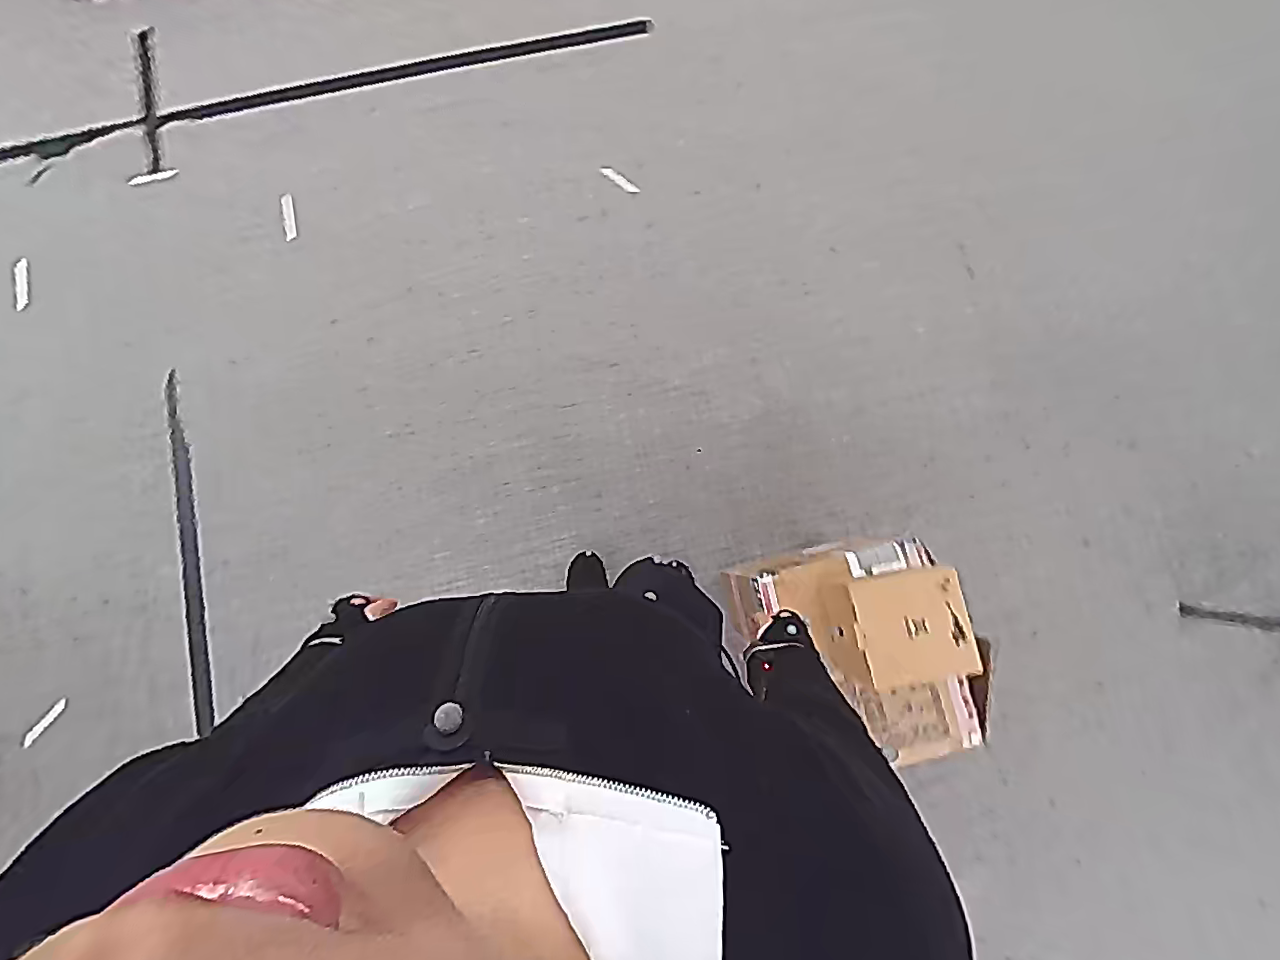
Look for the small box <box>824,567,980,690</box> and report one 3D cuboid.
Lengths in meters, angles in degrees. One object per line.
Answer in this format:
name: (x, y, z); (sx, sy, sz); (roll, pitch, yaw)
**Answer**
small box: (0.427, 0.245, 0.920); (0.179, 0.176, 0.168); (-10, 80, 1)
